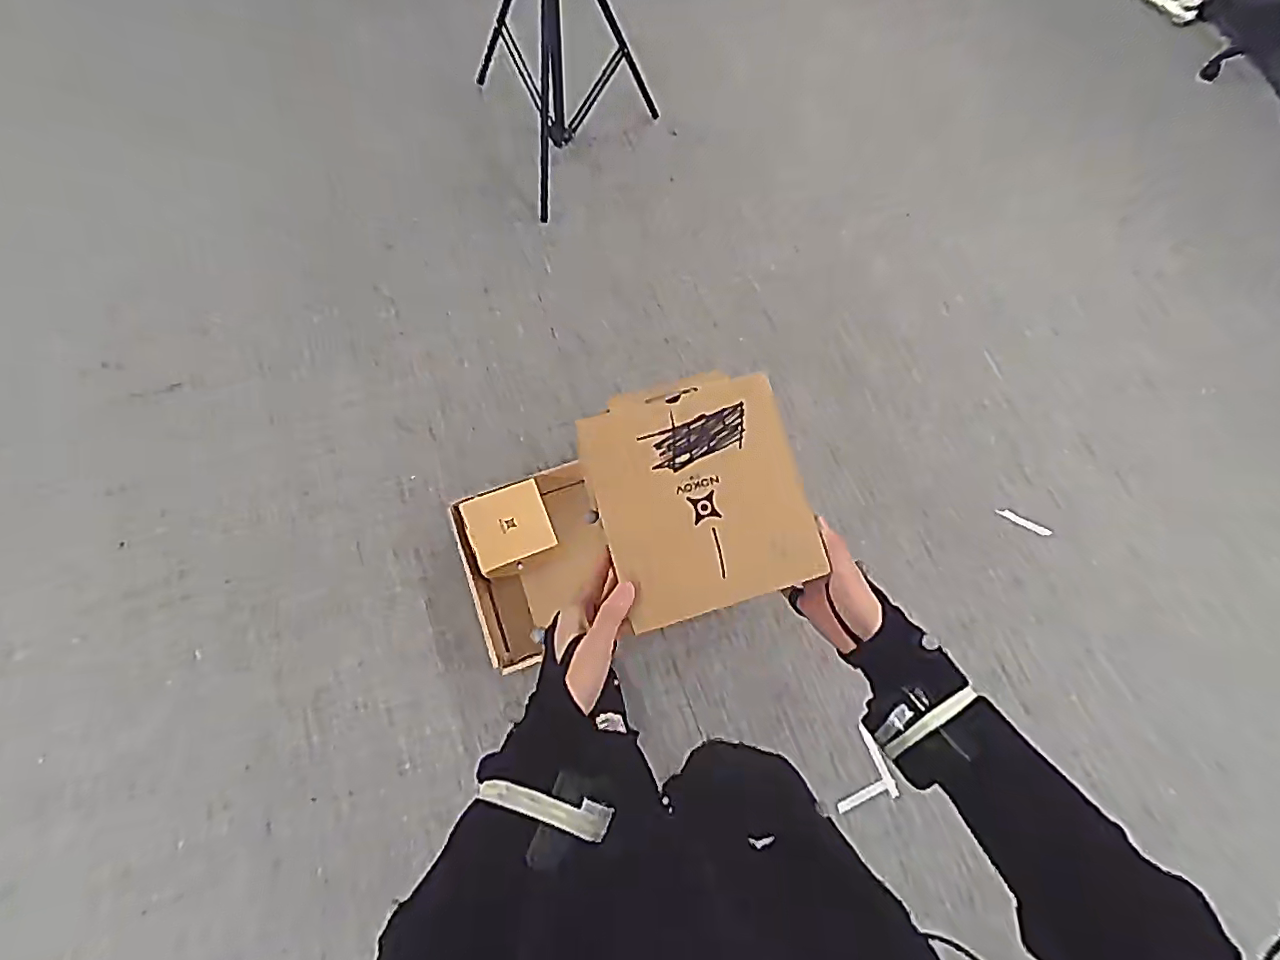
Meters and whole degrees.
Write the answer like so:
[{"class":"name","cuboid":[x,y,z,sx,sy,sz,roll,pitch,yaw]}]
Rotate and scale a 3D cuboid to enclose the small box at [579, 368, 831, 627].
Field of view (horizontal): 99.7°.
[{"class":"small box","cuboid":[0.043,0.021,0.506,0.168,0.176,0.179,-16,84,-6]}]
